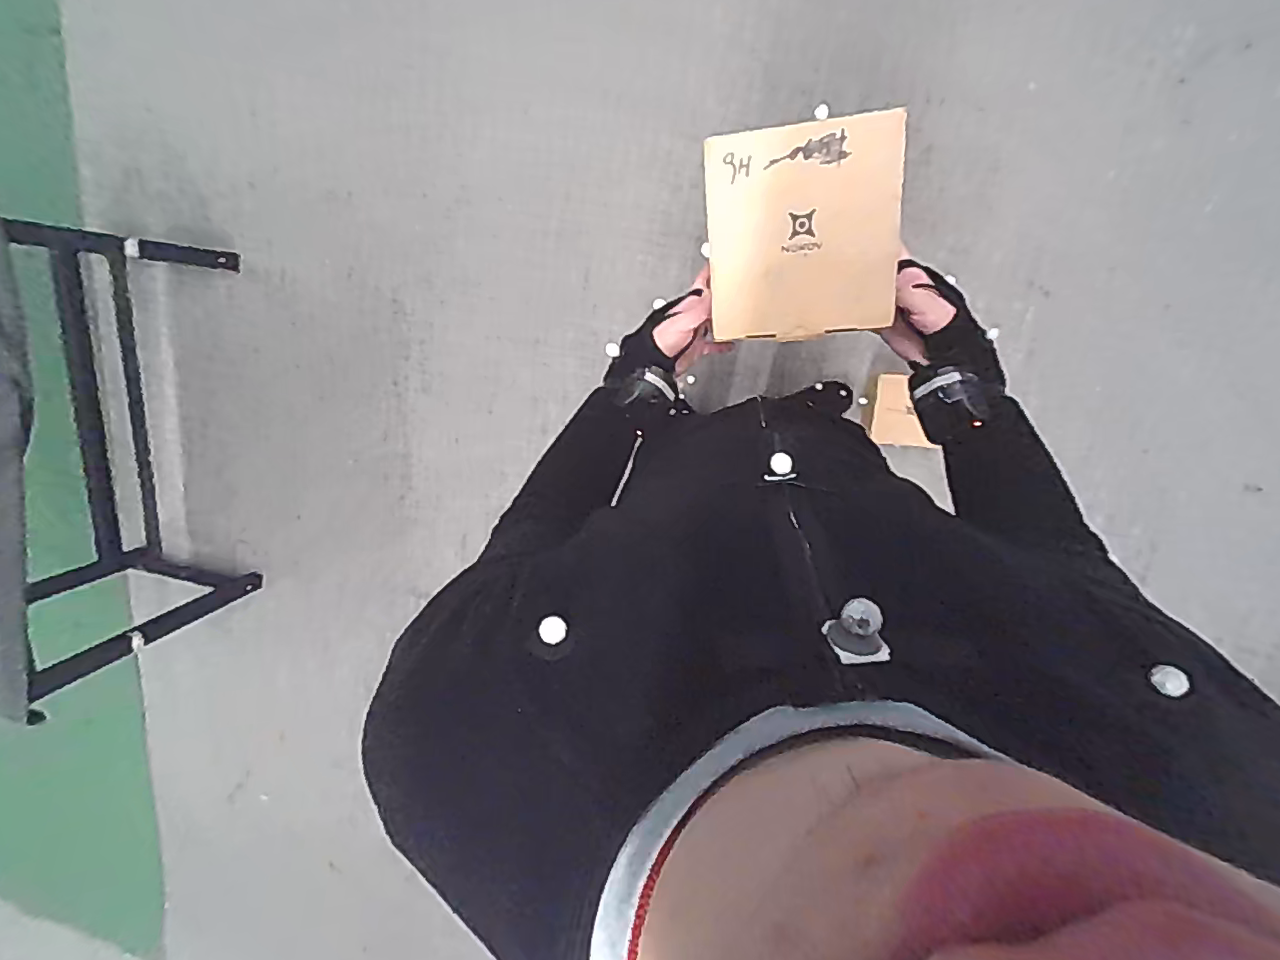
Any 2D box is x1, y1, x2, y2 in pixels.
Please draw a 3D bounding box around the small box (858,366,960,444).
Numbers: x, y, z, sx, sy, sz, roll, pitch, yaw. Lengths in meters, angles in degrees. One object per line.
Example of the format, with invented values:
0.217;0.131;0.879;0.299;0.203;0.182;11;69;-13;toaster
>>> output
0.659;-0.193;1.345;0.179;0.176;0.168;7;106;12;small box
